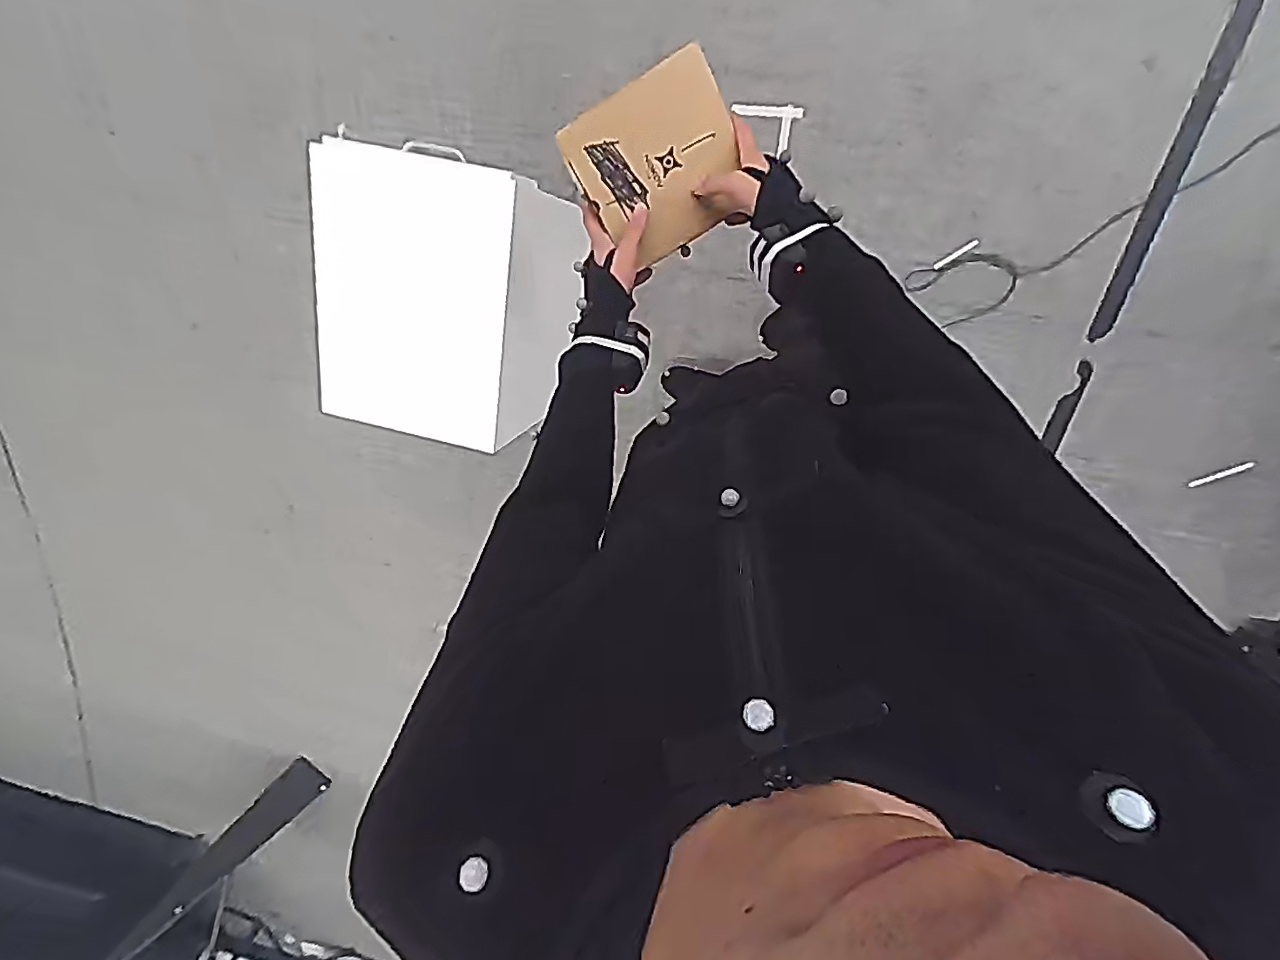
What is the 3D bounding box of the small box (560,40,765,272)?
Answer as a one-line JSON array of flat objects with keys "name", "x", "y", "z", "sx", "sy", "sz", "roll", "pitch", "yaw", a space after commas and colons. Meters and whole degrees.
[{"name": "small box", "x": 0.024, "y": -0.372, "z": 0.663, "sx": 0.179, "sy": 0.176, "sz": 0.168, "roll": -29, "pitch": 109, "yaw": 7}]
